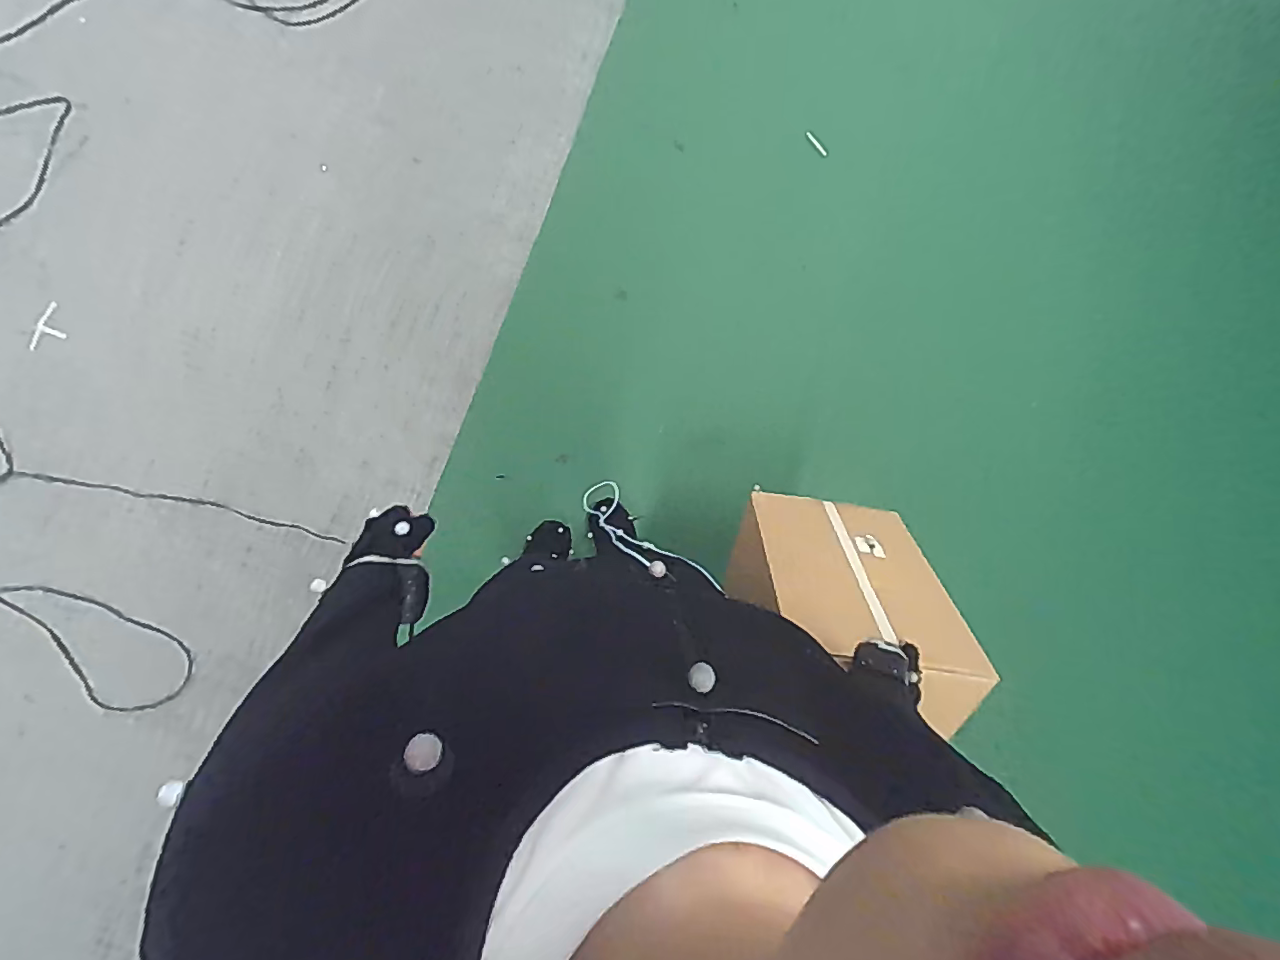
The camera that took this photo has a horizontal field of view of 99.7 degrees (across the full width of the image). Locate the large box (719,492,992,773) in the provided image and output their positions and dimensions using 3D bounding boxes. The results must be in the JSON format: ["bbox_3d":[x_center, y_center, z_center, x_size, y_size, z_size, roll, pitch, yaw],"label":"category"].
[{"bbox_3d":[0.348,0.273,1.023,0.320,0.408,0.320,8,122,-4],"label":"large box"}]
